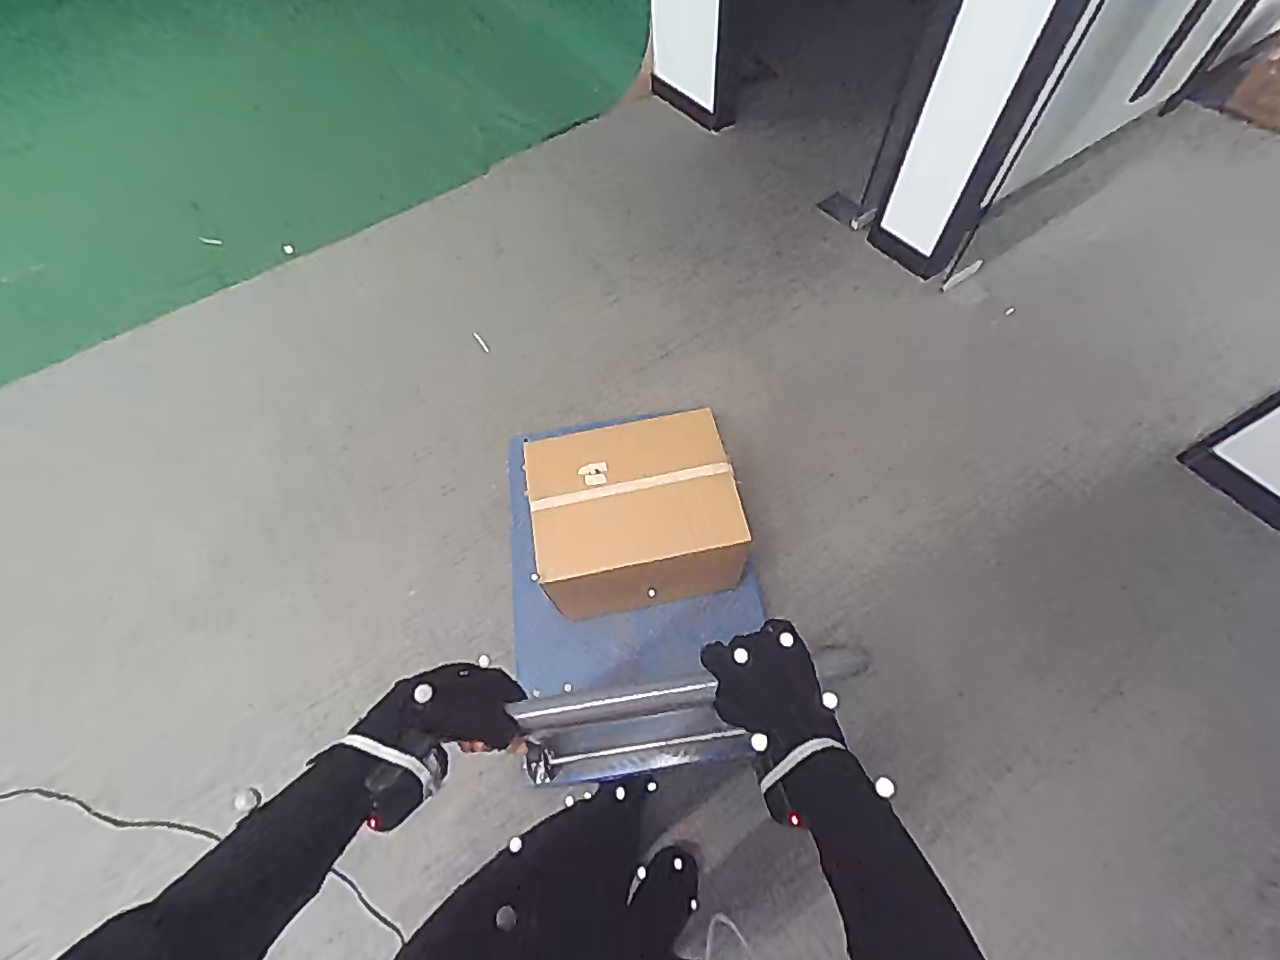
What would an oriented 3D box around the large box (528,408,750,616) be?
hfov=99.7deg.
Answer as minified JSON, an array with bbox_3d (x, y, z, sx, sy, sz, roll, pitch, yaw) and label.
[{"bbox_3d":[-0.002,0.085,1.216,0.408,0.320,0.320,-12,62,-1],"label":"large box"}]
